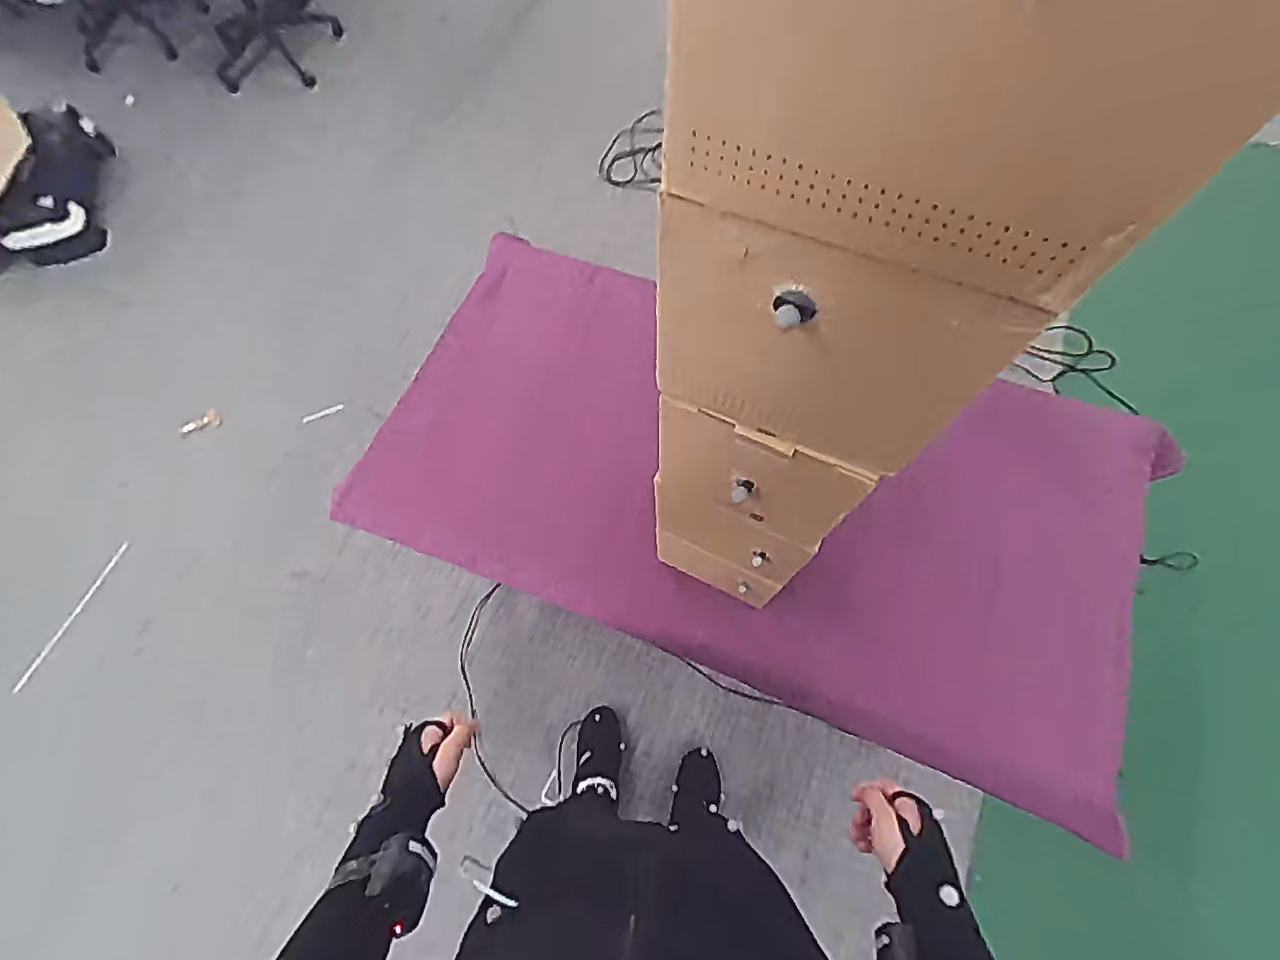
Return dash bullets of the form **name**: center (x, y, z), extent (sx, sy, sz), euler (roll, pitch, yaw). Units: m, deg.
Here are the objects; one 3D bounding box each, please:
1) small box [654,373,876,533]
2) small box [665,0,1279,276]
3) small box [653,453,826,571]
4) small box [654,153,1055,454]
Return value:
- **small box**: center (0.126, -0.074, 0.484), extent (0.168, 0.176, 0.179), euler (25, 71, 12)
- **small box**: center (0.119, -0.200, 0.183), extent (0.179, 0.176, 0.168), euler (23, 70, 12)
- **small box**: center (0.130, -0.007, 0.633), extent (0.179, 0.176, 0.168), euler (25, 71, 13)
- **small box**: center (0.120, -0.139, 0.333), extent (0.179, 0.176, 0.168), euler (23, 70, 10)
